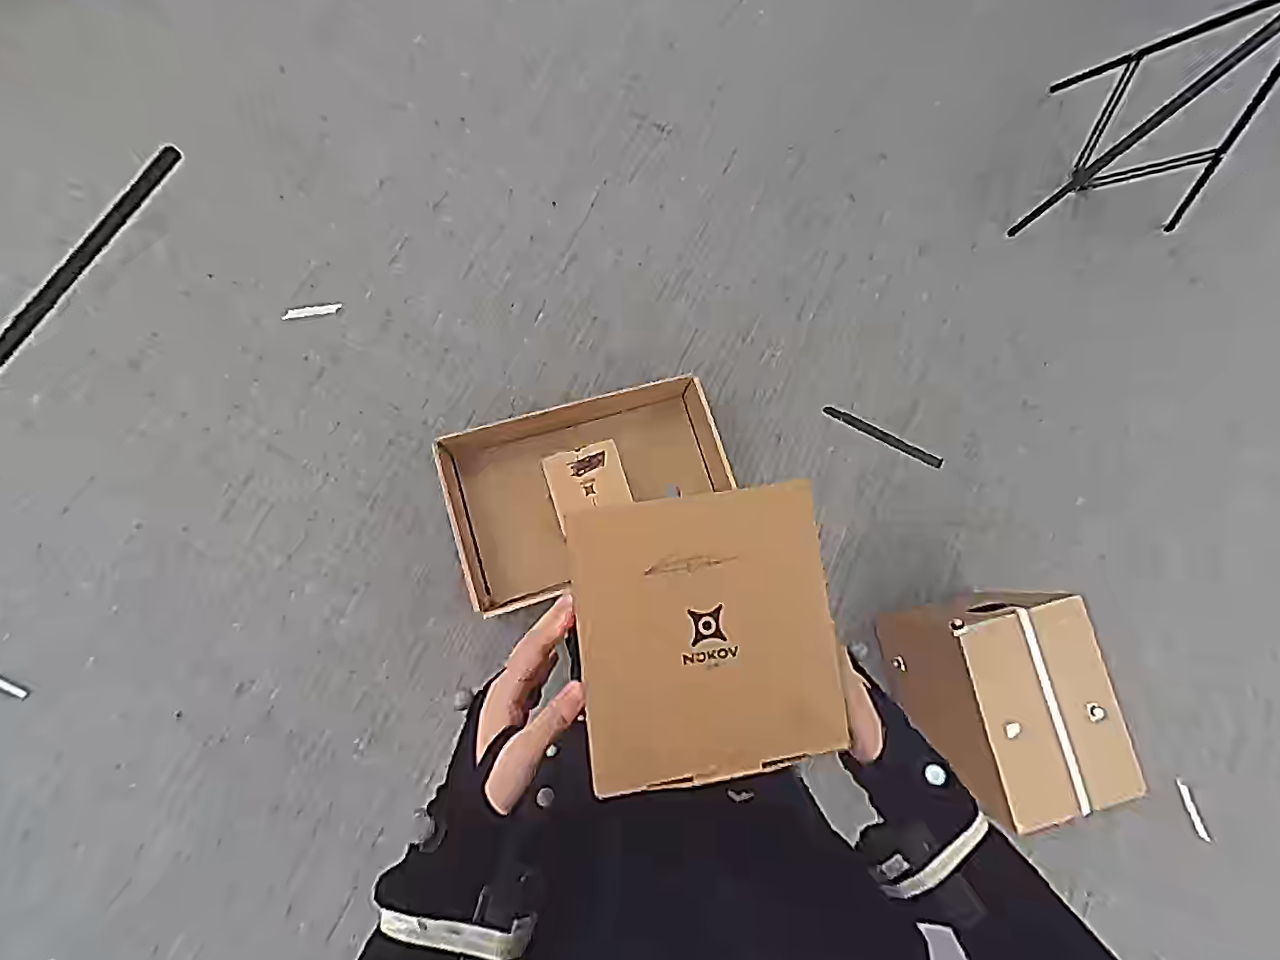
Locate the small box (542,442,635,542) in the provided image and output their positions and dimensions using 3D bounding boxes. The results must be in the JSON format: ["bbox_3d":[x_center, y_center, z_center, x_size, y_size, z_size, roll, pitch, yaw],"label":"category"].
[{"bbox_3d":[-0.123,0.034,1.234,0.168,0.176,0.179,-17,83,-10],"label":"small box"}]
